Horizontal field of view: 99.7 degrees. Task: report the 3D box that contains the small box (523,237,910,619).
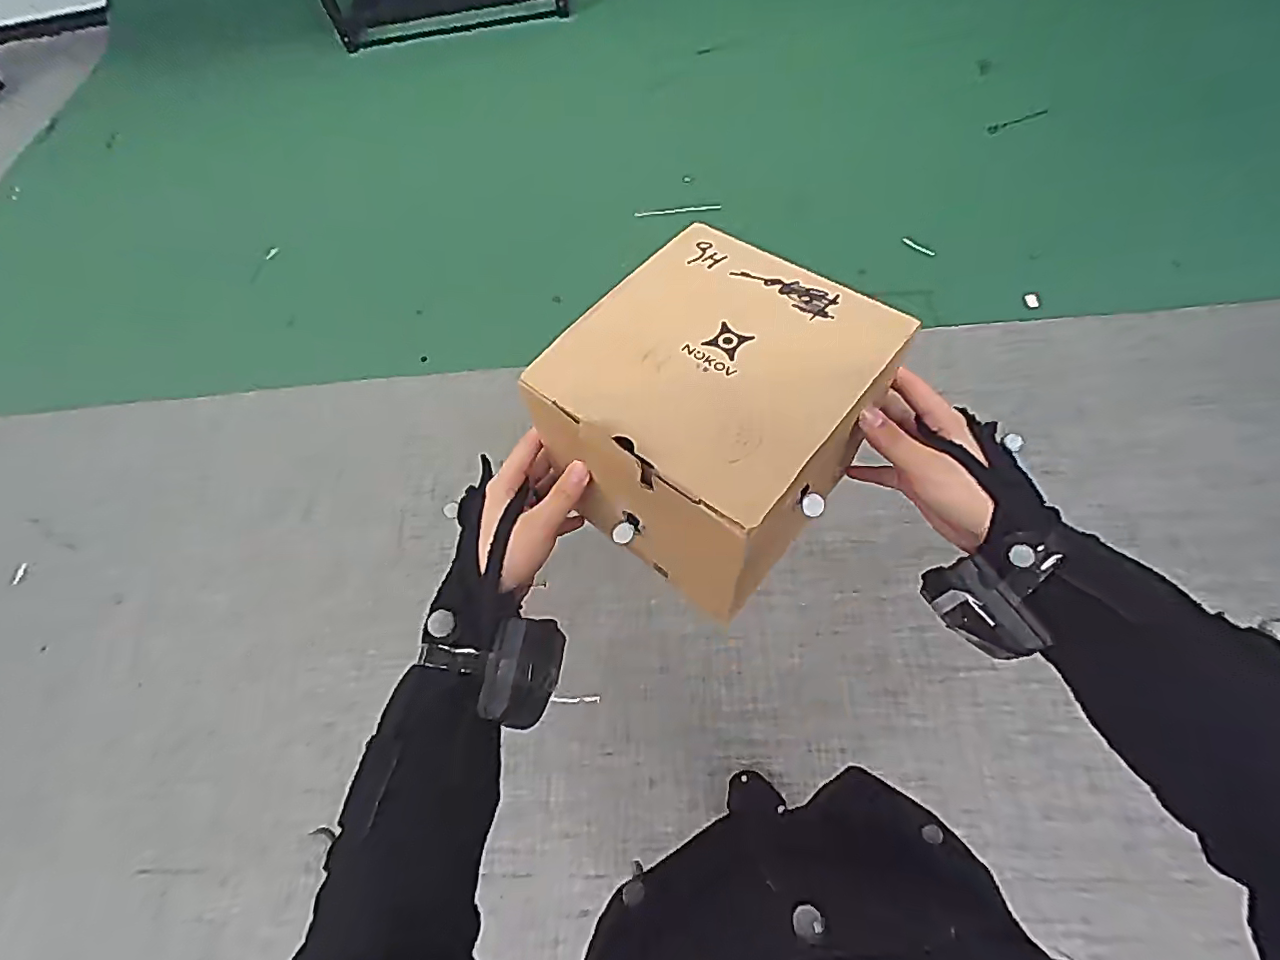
[{"bbox_3d":[0.052,-0.028,0.389,0.168,0.176,0.179,35,70,22],"label":"small box"}]
